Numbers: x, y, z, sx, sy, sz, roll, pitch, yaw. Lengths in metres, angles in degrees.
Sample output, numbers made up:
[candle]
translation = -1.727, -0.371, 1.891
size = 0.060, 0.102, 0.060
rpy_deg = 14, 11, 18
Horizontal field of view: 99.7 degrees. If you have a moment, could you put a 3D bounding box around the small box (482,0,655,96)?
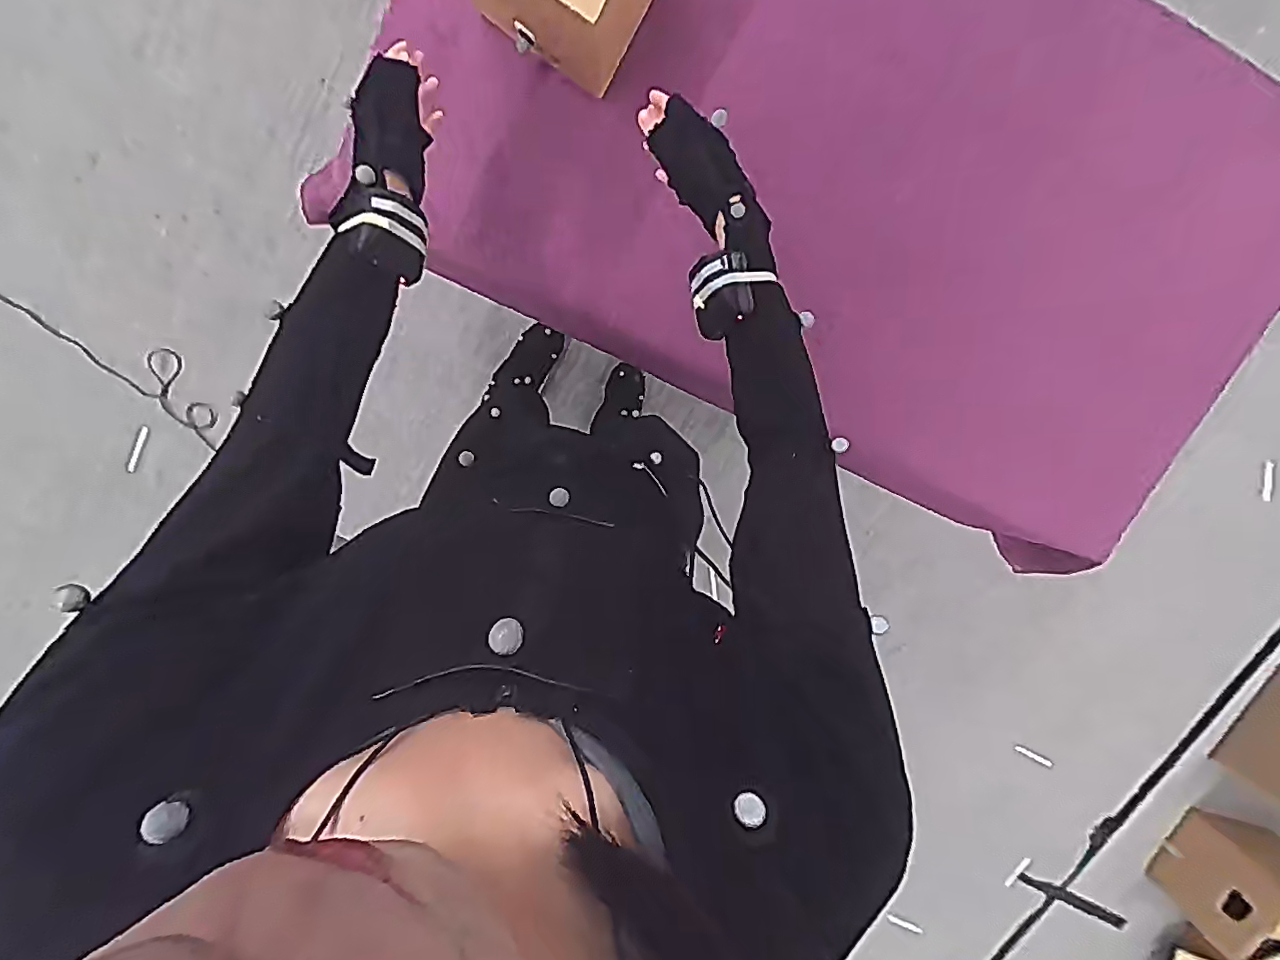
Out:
[small box]
translation = -0.069, -0.551, 0.550
size = 0.168, 0.176, 0.179
rpy_deg = 30, 102, -8
